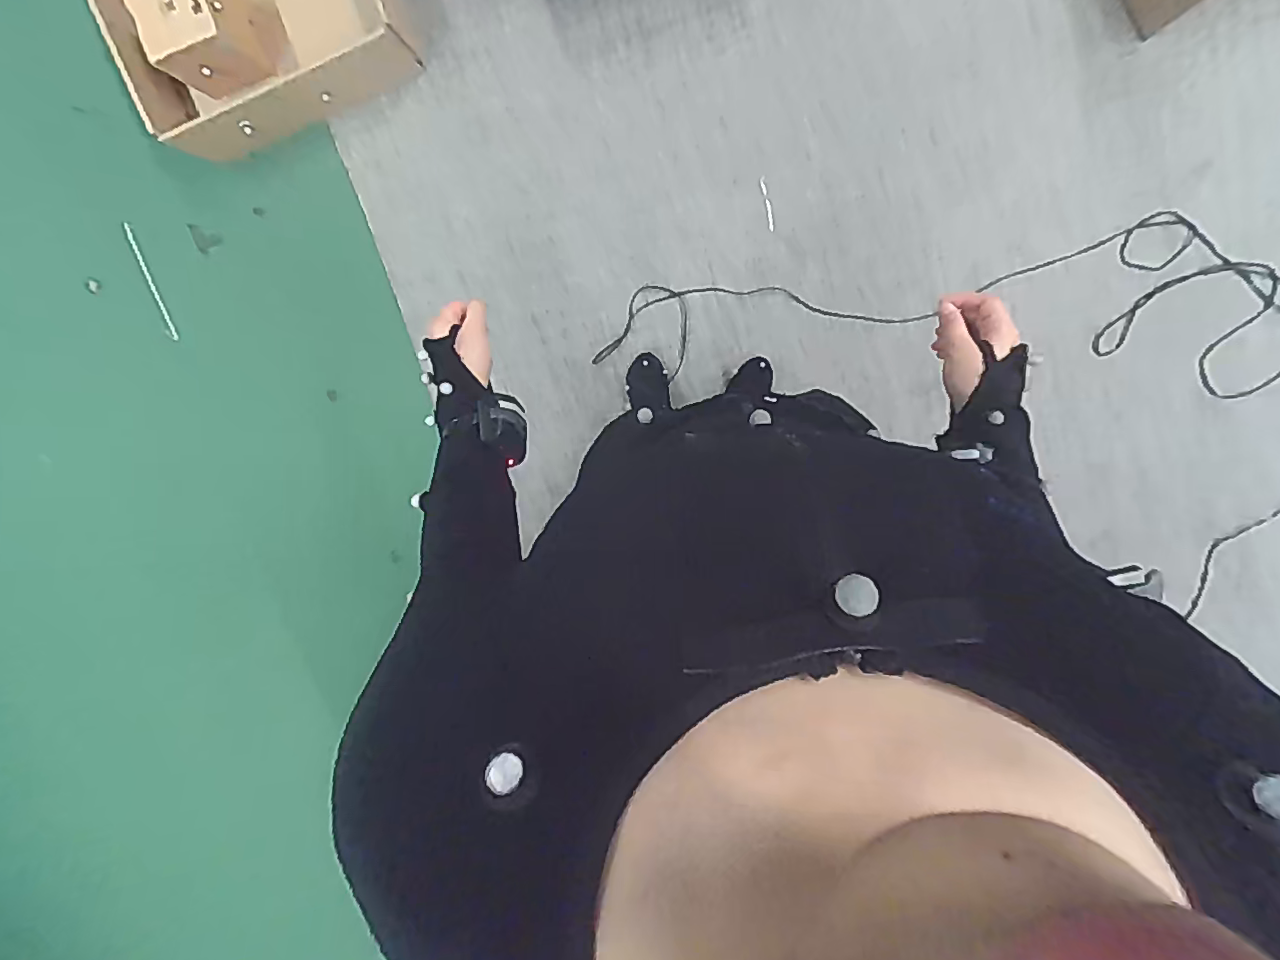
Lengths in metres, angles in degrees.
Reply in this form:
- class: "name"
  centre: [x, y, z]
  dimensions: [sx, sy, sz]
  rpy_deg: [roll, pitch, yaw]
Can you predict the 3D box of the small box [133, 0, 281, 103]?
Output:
- class: "small box"
  centre: [-0.977, -1.005, 1.230]
  dimensions: [0.179, 0.176, 0.168]
  rpy_deg: [-16, 100, 8]
